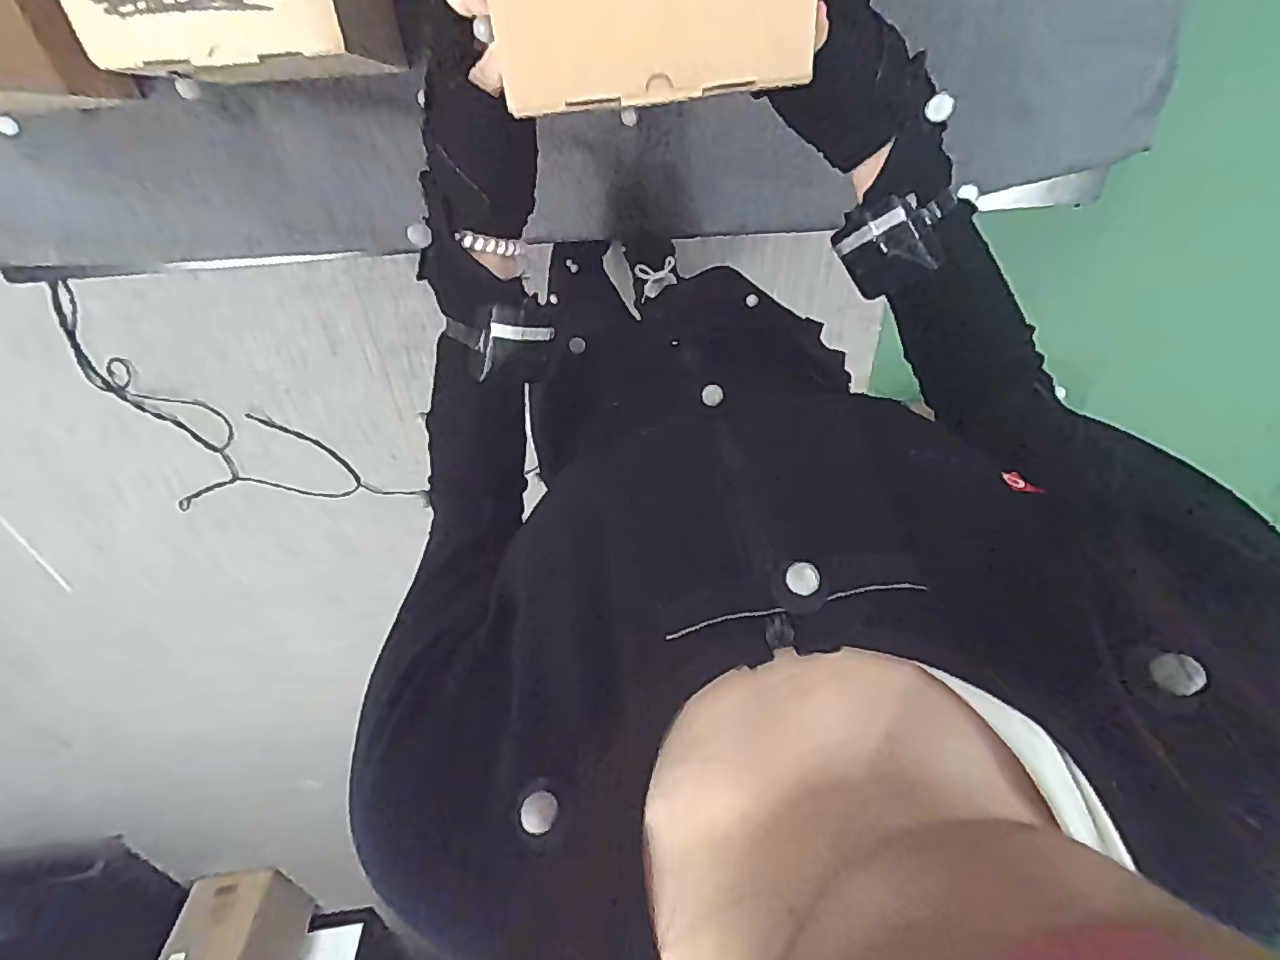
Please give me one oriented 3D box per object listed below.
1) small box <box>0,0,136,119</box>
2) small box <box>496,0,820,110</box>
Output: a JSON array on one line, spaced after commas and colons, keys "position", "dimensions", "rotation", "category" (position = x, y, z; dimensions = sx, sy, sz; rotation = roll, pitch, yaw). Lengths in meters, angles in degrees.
[{"position": [-0.522, -0.356, 0.368], "dimensions": [0.168, 0.176, 0.179], "rotation": [-8, 124, -3], "category": "small box"}, {"position": [-0.001, -0.325, 0.308], "dimensions": [0.168, 0.176, 0.179], "rotation": [-7, 125, 0], "category": "small box"}]
